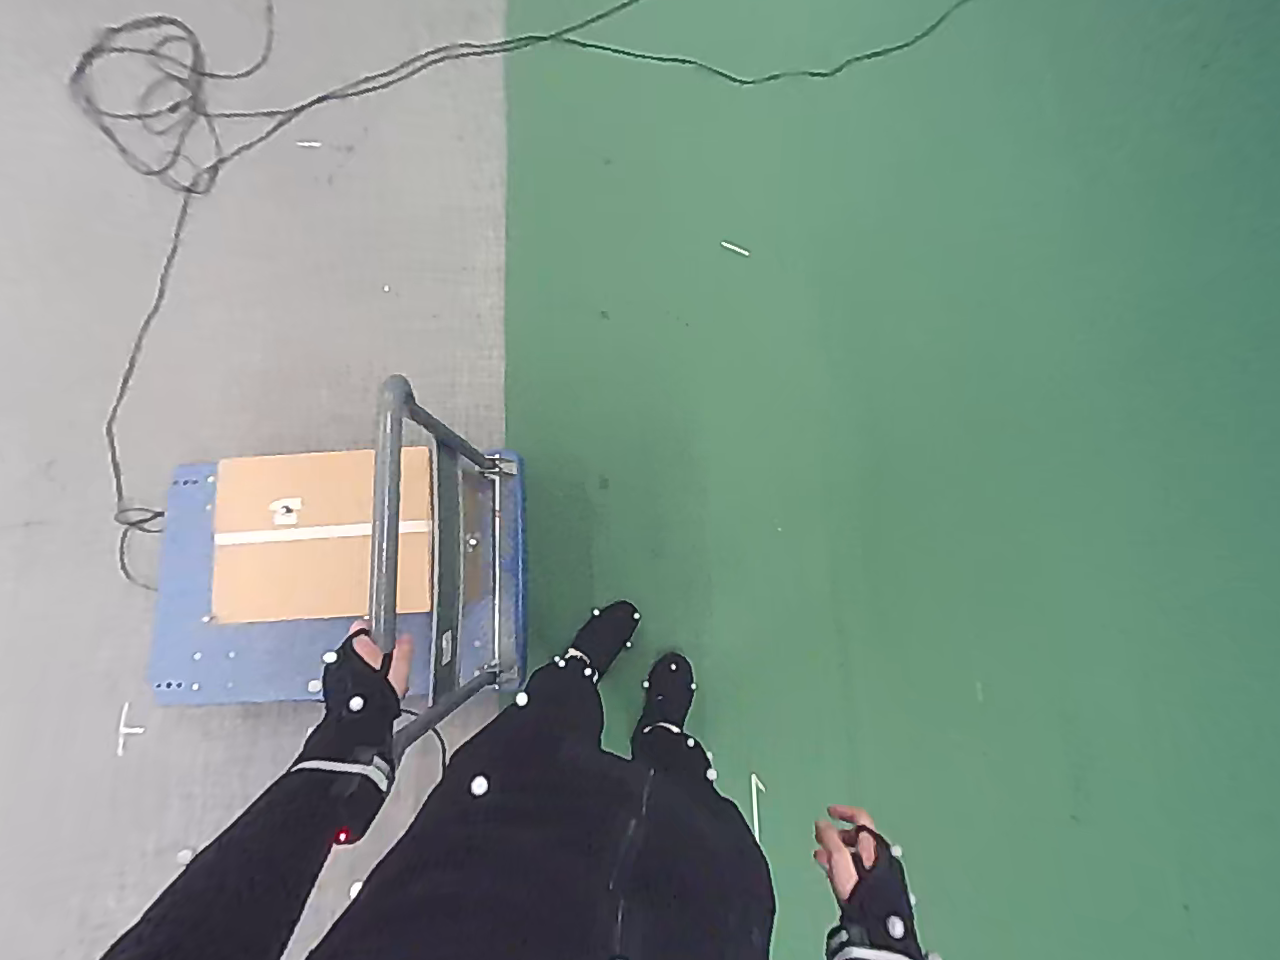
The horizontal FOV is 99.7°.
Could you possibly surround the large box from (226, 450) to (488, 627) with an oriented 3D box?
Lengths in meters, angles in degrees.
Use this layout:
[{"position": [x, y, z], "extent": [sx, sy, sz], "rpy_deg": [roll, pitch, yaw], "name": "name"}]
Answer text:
[{"position": [-0.568, 0.128, 1.159], "extent": [0.408, 0.320, 0.320], "rpy_deg": [-3, 80, 1], "name": "large box"}]
